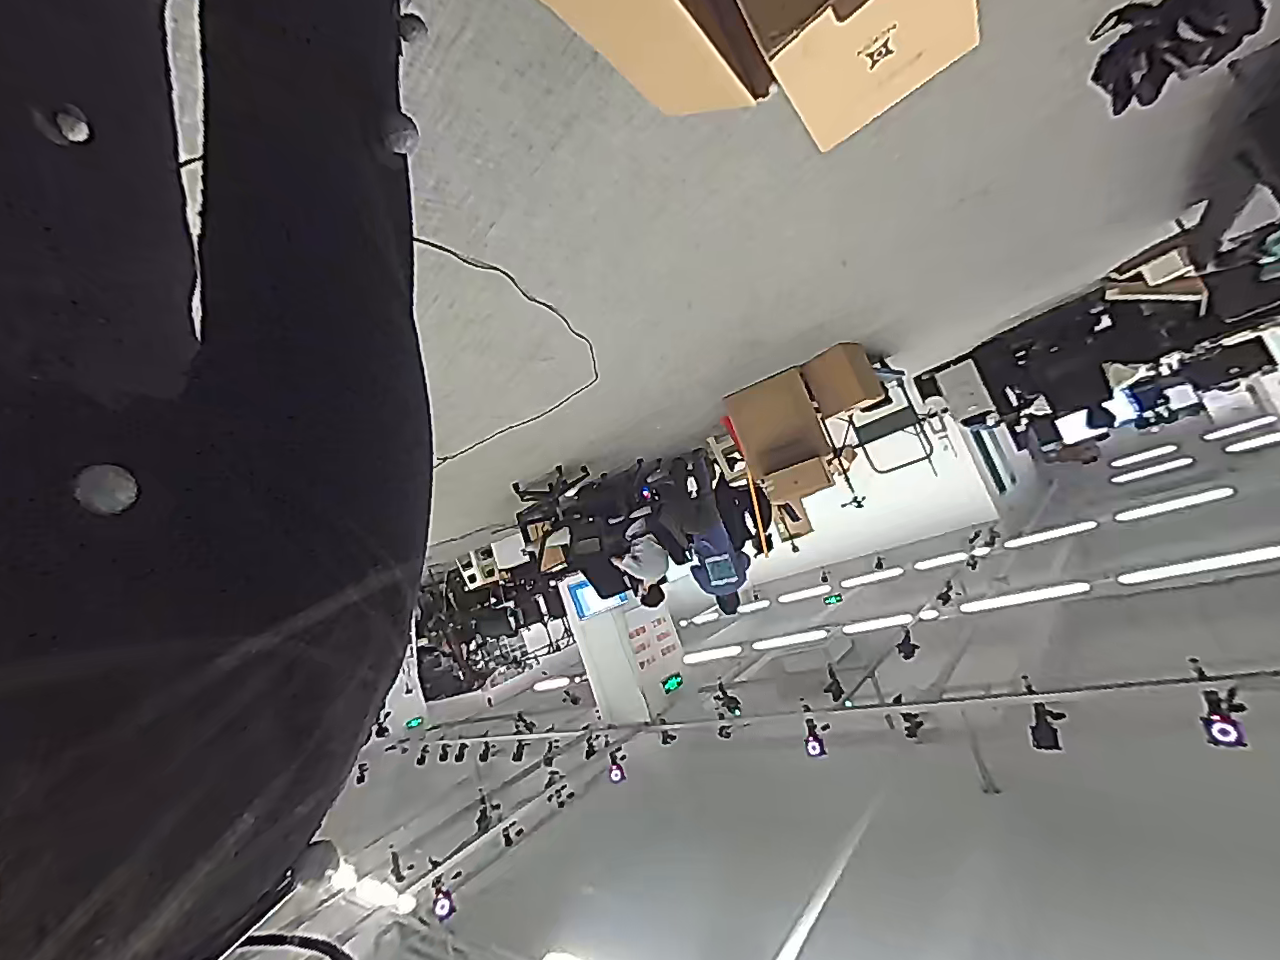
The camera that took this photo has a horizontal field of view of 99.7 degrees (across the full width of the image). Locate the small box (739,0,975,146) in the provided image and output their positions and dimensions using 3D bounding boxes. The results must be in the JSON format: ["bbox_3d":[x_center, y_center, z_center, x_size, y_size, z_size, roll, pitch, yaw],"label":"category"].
[{"bbox_3d":[0.196,-0.483,0.522,0.168,0.176,0.179,-25,169,34],"label":"small box"}]
